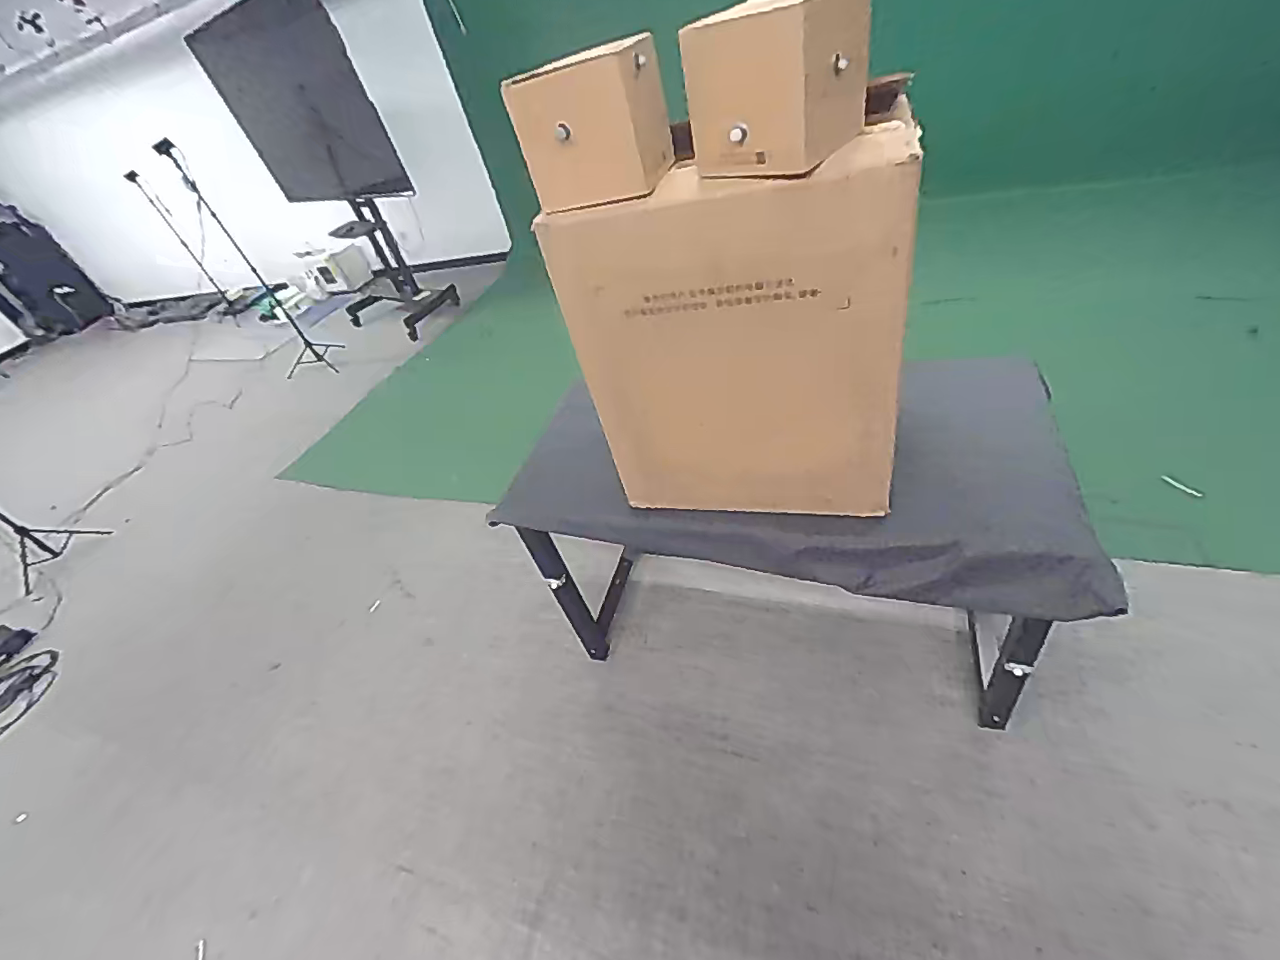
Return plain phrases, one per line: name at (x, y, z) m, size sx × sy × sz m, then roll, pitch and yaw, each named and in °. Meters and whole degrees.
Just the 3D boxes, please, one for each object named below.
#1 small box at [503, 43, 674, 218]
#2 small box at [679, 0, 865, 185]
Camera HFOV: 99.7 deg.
small box at (-0.065, -0.514, 0.809) m, size 0.179 × 0.176 × 0.168 m, roll 0°, pitch 44°, yaw 23°
small box at (0.176, -0.510, 0.713) m, size 0.168 × 0.176 × 0.179 m, roll 22°, pitch 55°, yaw 36°
